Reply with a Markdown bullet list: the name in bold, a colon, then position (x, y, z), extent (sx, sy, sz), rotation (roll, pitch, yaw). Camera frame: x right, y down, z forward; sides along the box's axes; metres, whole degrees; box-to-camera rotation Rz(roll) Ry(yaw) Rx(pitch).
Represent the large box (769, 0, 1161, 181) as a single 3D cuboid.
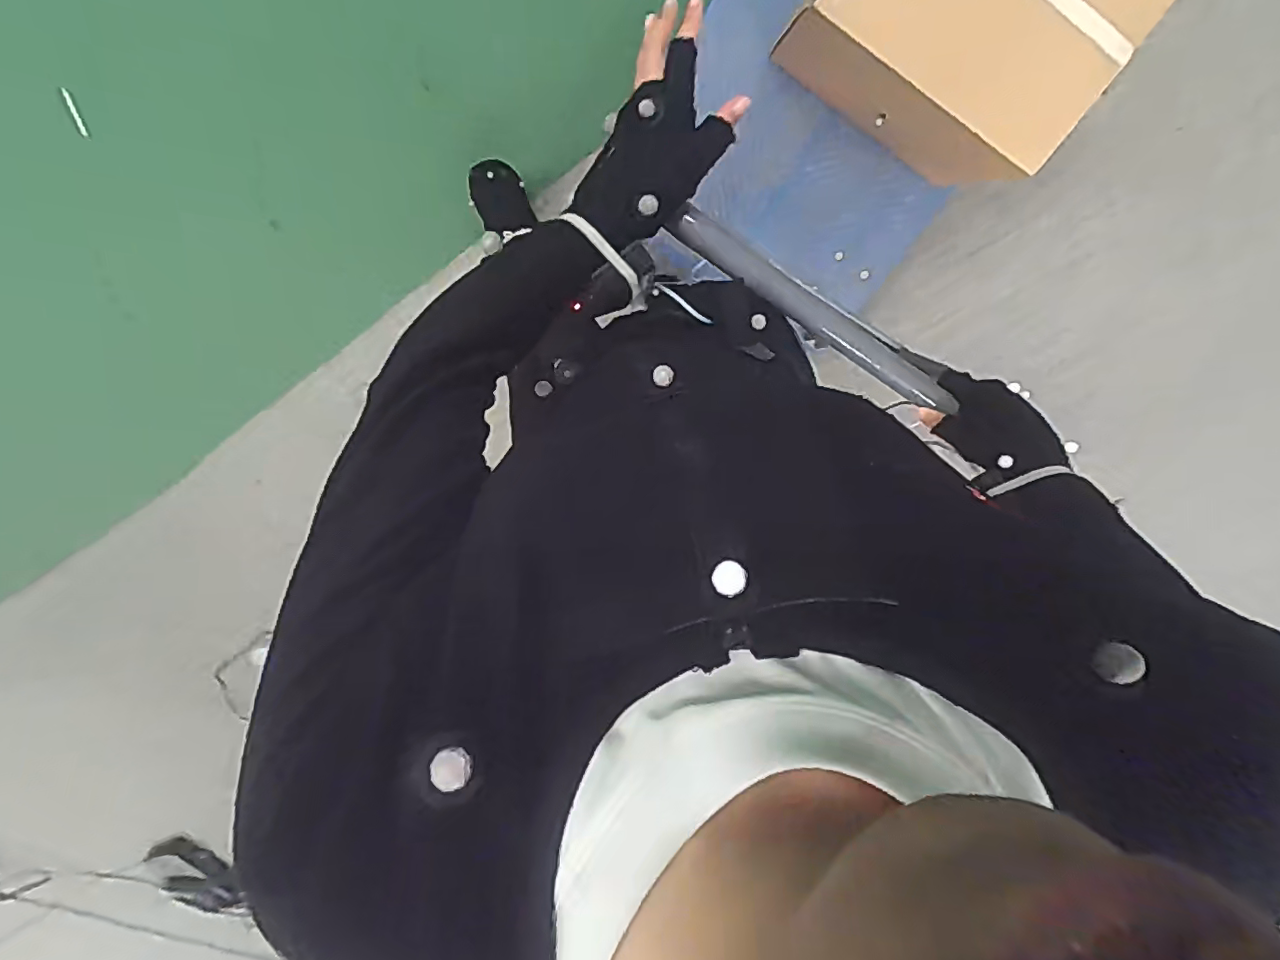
- **large box**: position (0.466, -0.712, 0.822), extent (0.408, 0.320, 0.320), rotation (28, 114, -11)
